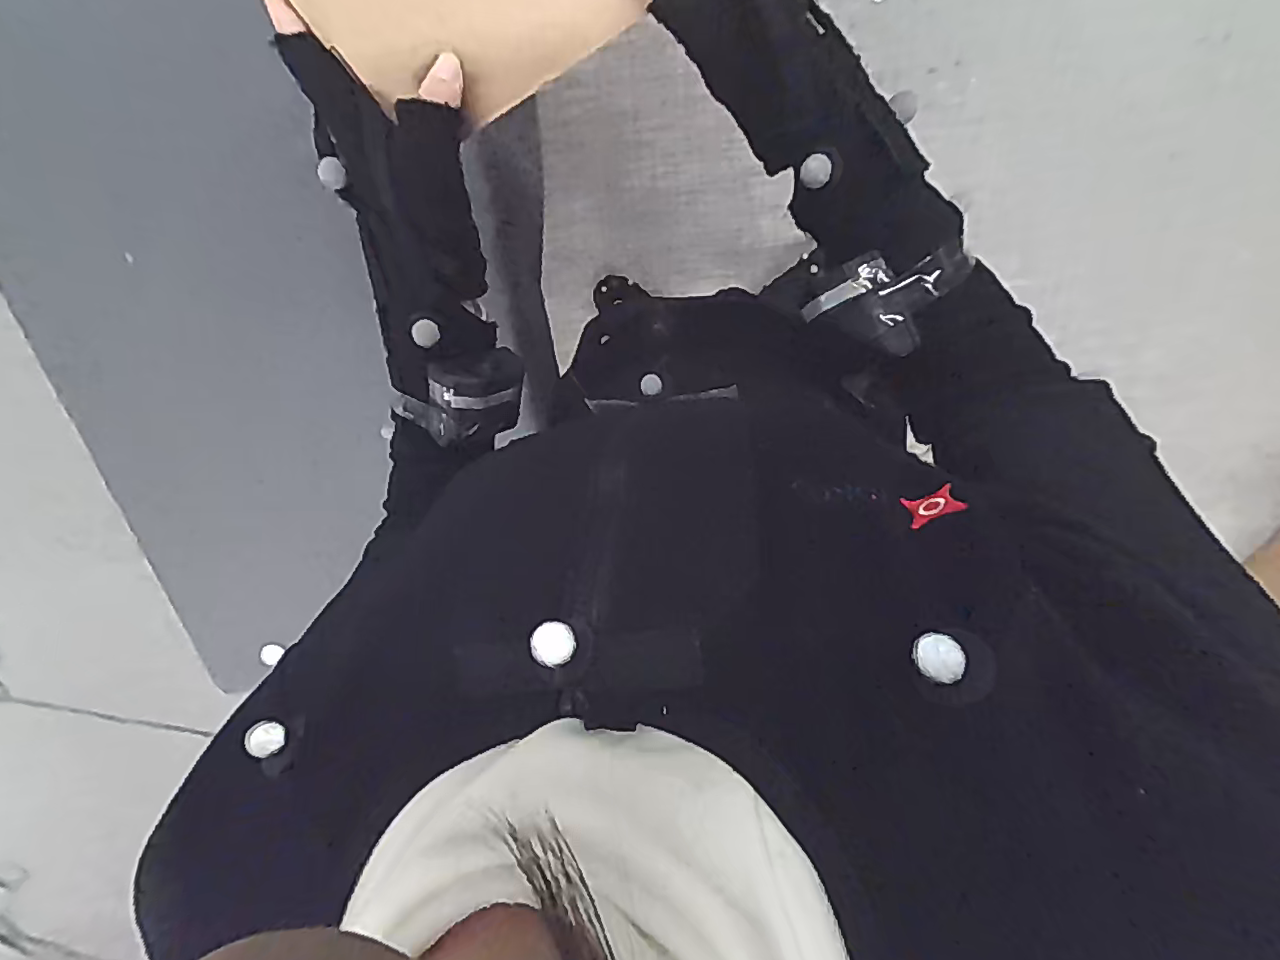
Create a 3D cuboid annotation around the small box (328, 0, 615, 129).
[{"bbox_3d":[-0.086,-0.325,0.267,0.179,0.176,0.168,-24,137,16],"label":"small box"}]
